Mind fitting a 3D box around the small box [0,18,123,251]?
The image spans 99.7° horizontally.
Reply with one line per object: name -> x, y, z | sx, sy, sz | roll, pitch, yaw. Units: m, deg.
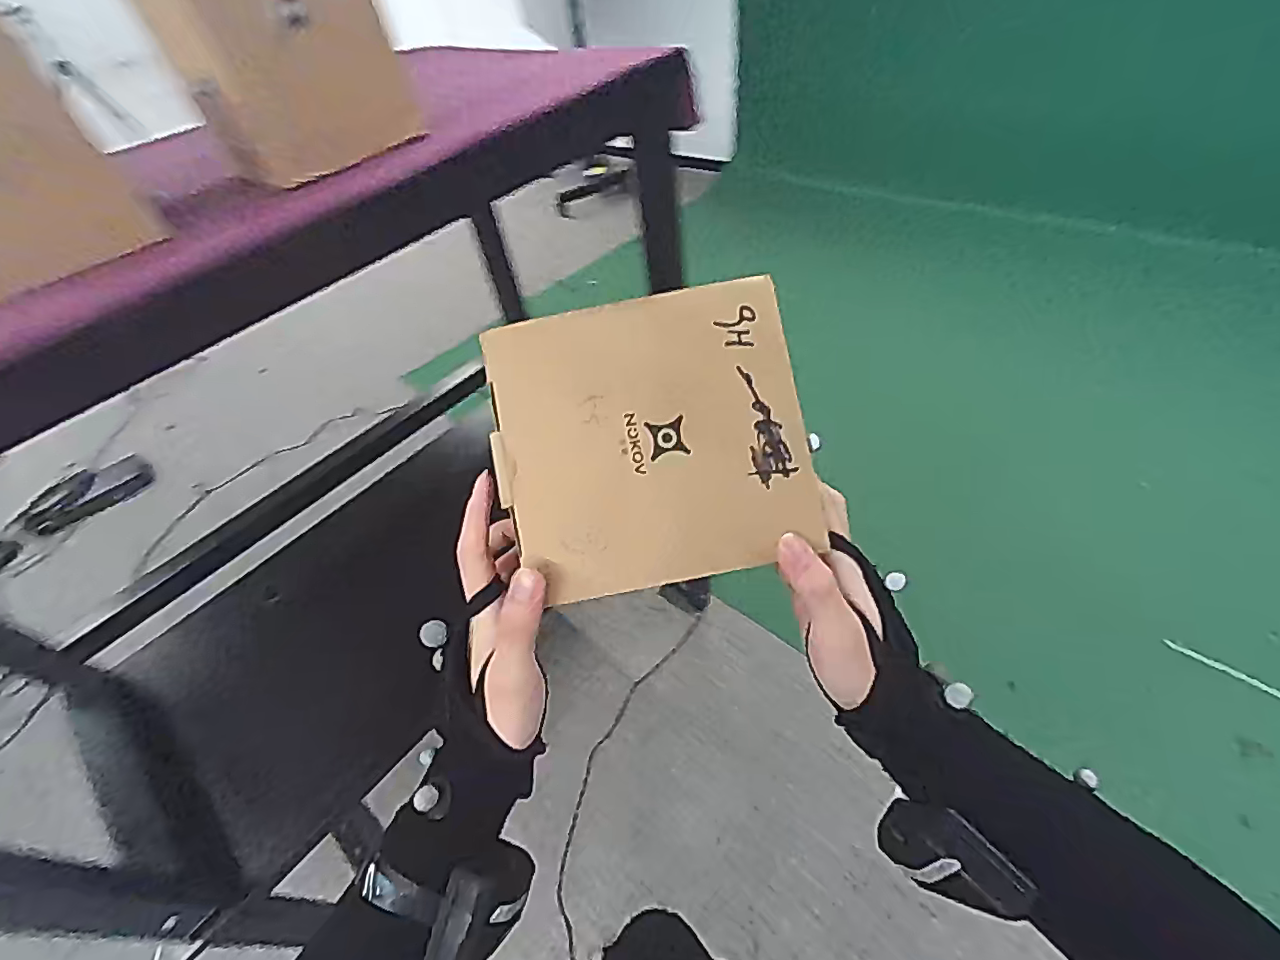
small box -> -0.559, -0.283, 0.420 | 0.179, 0.176, 0.168 | -39, 53, -23
